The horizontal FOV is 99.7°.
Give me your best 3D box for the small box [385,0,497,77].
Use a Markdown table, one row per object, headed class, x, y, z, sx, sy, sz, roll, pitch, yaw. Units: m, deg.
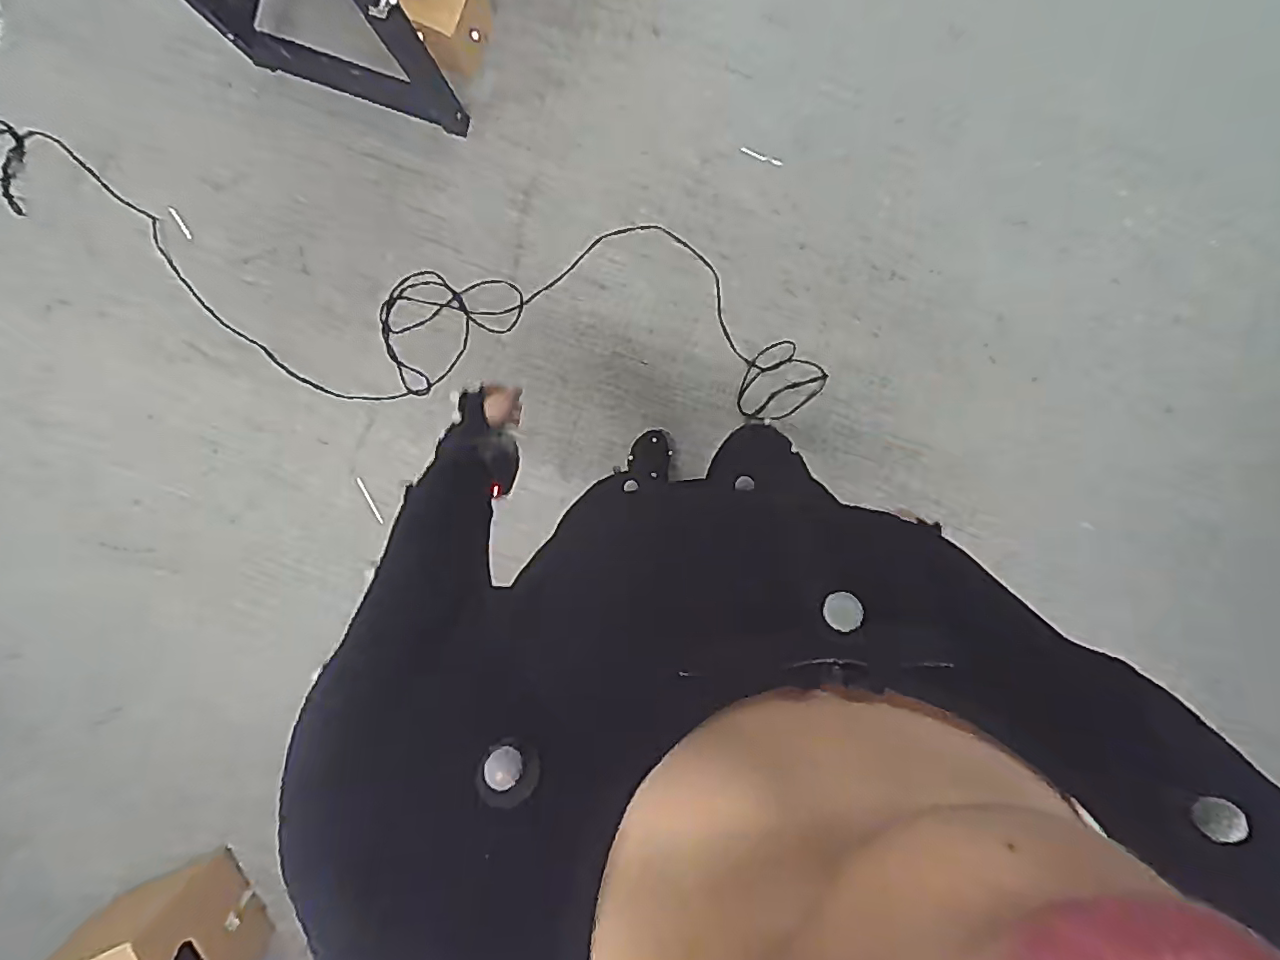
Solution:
| class | x | y | z | sx | sy | sz | roll | pitch | yaw |
| --- | --- | --- | --- | --- | --- | --- | --- | --- | --- |
| small box | -0.466 | -1.121 | 1.297 | 0.179 | 0.176 | 0.168 | 24 | 96 | -1 |
